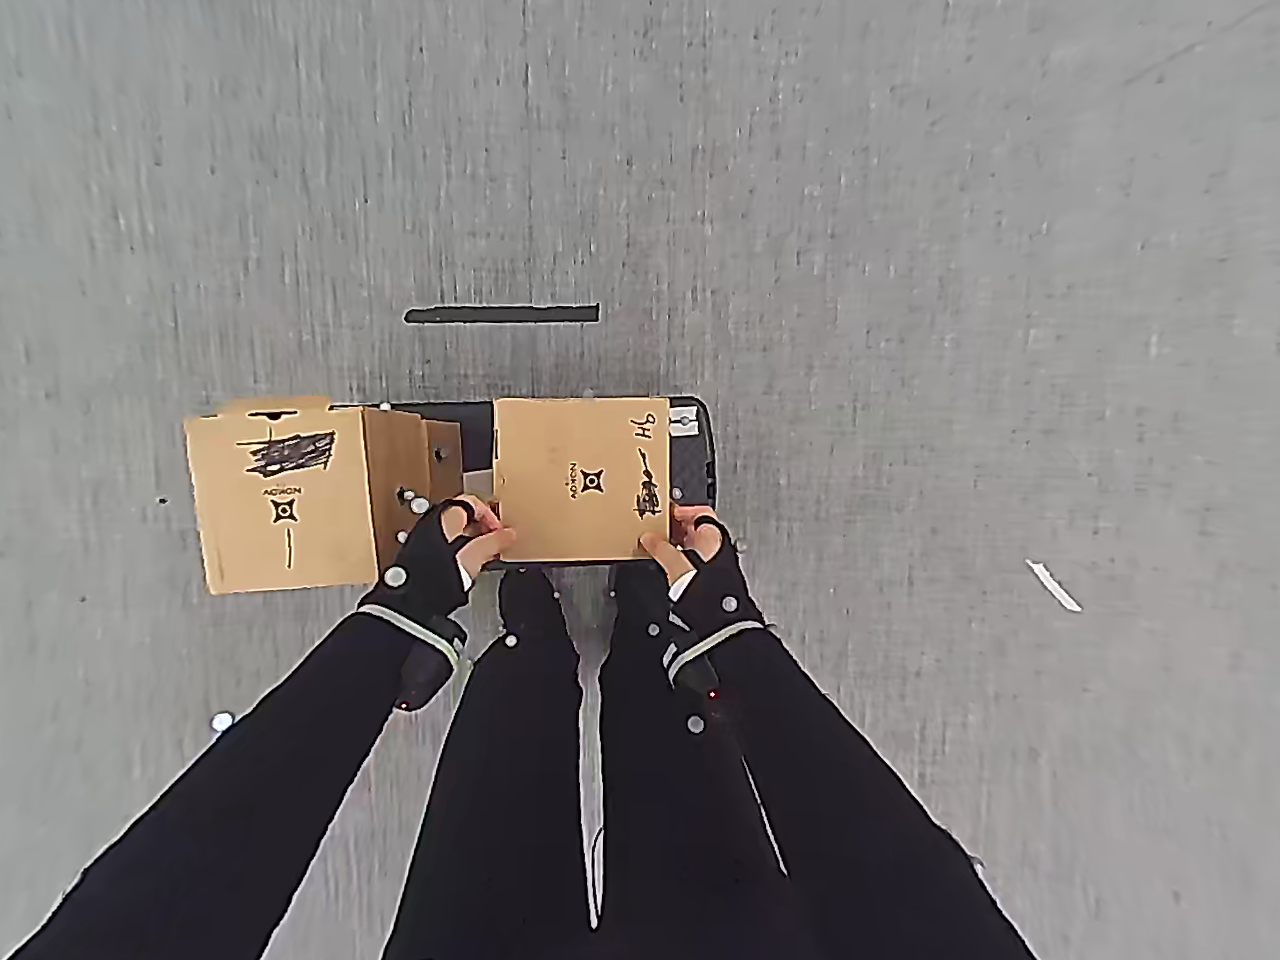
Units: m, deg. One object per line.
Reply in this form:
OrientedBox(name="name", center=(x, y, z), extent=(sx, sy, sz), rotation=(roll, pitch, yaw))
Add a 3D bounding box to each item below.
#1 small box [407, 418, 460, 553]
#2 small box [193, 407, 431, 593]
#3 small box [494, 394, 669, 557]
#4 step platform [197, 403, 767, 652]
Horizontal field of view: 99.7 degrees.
OrientedBox(name="small box", center=(-0.354, 0.005, 0.768), extent=(0.168, 0.176, 0.179), rotation=(-2, 95, -3))
OrientedBox(name="small box", center=(-0.346, 0.014, 0.604), extent=(0.168, 0.176, 0.179), rotation=(-3, 95, -4))
OrientedBox(name="small box", center=(-0.061, -0.010, 0.622), extent=(0.179, 0.176, 0.168), rotation=(0, 96, -2))
OrientedBox(name="step platform", center=(-0.187, 0.050, 0.748), extent=(0.684, 0.204, 0.286), rotation=(-2, 95, -4))
